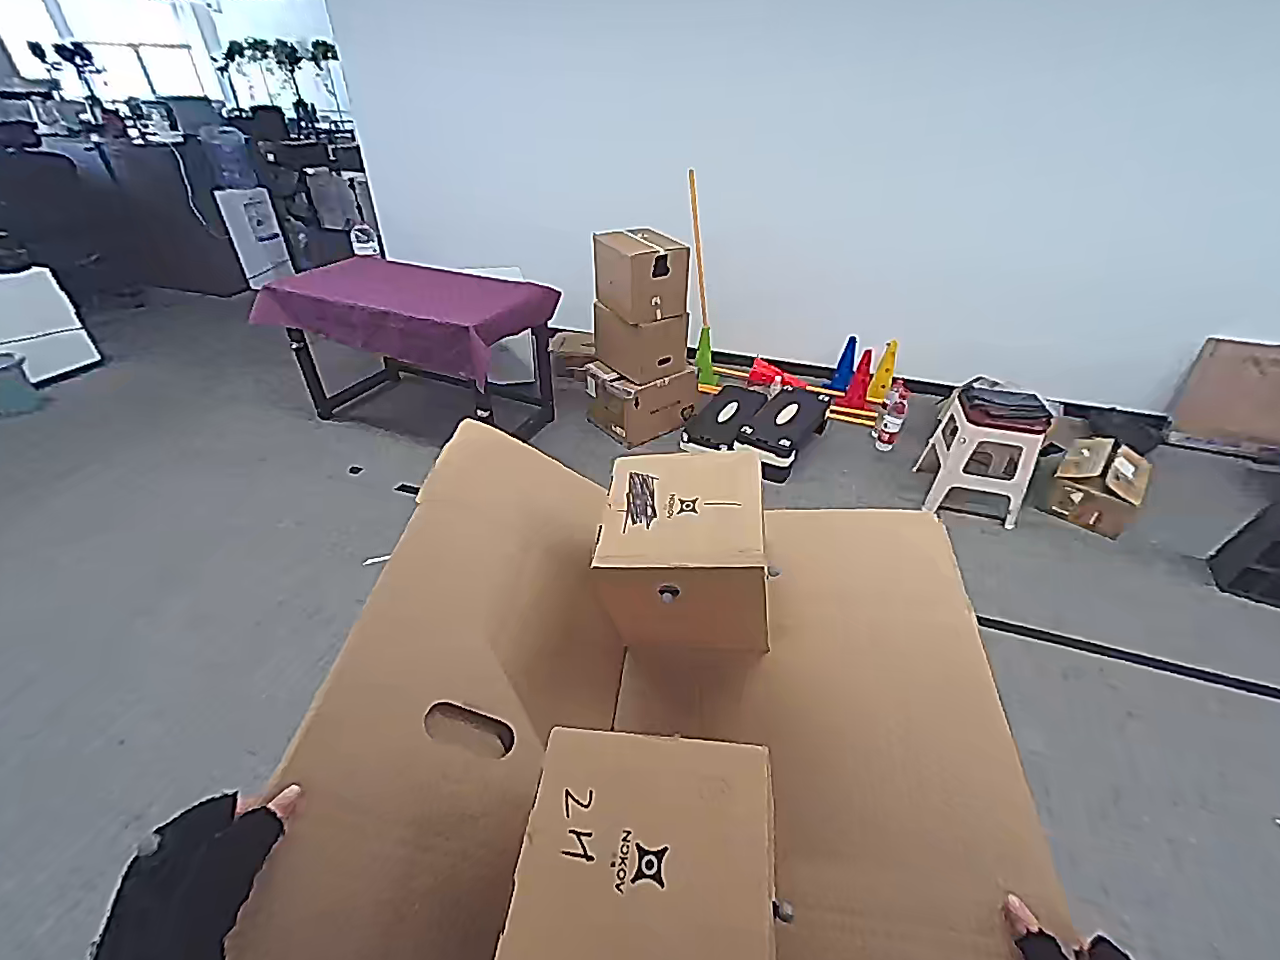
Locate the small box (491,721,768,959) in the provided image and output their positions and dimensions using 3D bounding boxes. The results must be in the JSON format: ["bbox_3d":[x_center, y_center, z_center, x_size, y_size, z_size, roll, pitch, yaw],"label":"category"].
[{"bbox_3d":[0.013,0.318,0.438,0.179,0.176,0.168,-1,46,15],"label":"small box"}]

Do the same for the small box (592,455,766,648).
[{"bbox_3d":[0.059,0.089,0.654,0.179,0.176,0.168,-2,46,13],"label":"small box"}]
